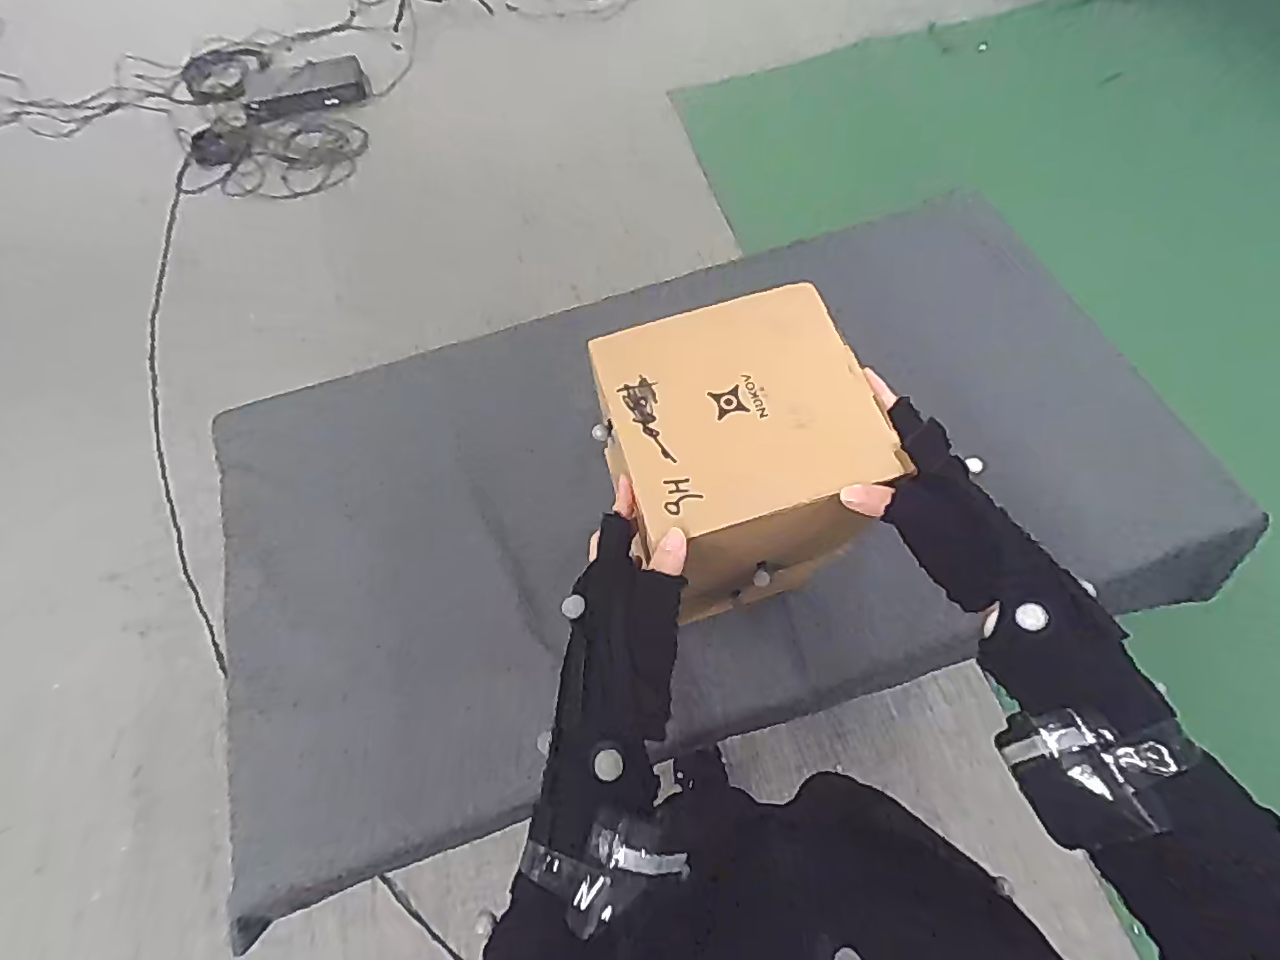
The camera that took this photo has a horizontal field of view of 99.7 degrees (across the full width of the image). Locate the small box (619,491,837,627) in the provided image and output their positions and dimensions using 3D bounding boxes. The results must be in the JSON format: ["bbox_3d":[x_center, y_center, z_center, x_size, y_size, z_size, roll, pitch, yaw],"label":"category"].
[{"bbox_3d":[0.080,0.045,0.595,0.179,0.176,0.168,-20,66,-8],"label":"small box"}]

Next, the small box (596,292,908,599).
[{"bbox_3d":[0.071,-0.018,0.443,0.179,0.176,0.168,-15,64,-6],"label":"small box"}]
